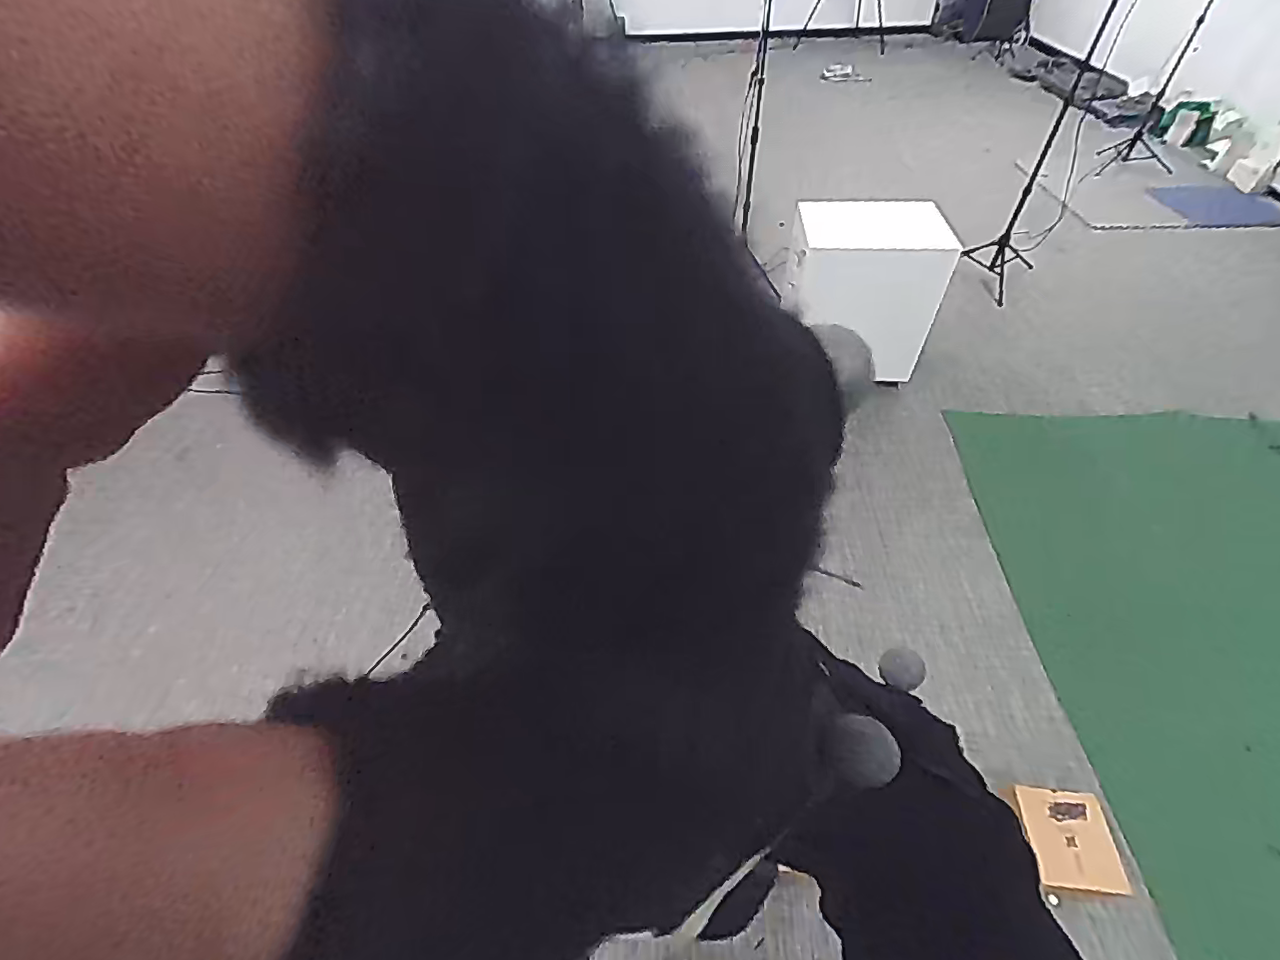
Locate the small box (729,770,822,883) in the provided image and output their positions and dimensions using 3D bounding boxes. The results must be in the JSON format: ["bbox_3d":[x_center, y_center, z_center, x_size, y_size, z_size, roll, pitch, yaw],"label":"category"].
[{"bbox_3d":[0.284,0.755,1.177,0.168,0.176,0.179,1,48,4],"label":"small box"}]

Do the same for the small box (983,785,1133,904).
[{"bbox_3d":[0.864,0.772,1.143,0.168,0.176,0.179,4,49,6],"label":"small box"}]
